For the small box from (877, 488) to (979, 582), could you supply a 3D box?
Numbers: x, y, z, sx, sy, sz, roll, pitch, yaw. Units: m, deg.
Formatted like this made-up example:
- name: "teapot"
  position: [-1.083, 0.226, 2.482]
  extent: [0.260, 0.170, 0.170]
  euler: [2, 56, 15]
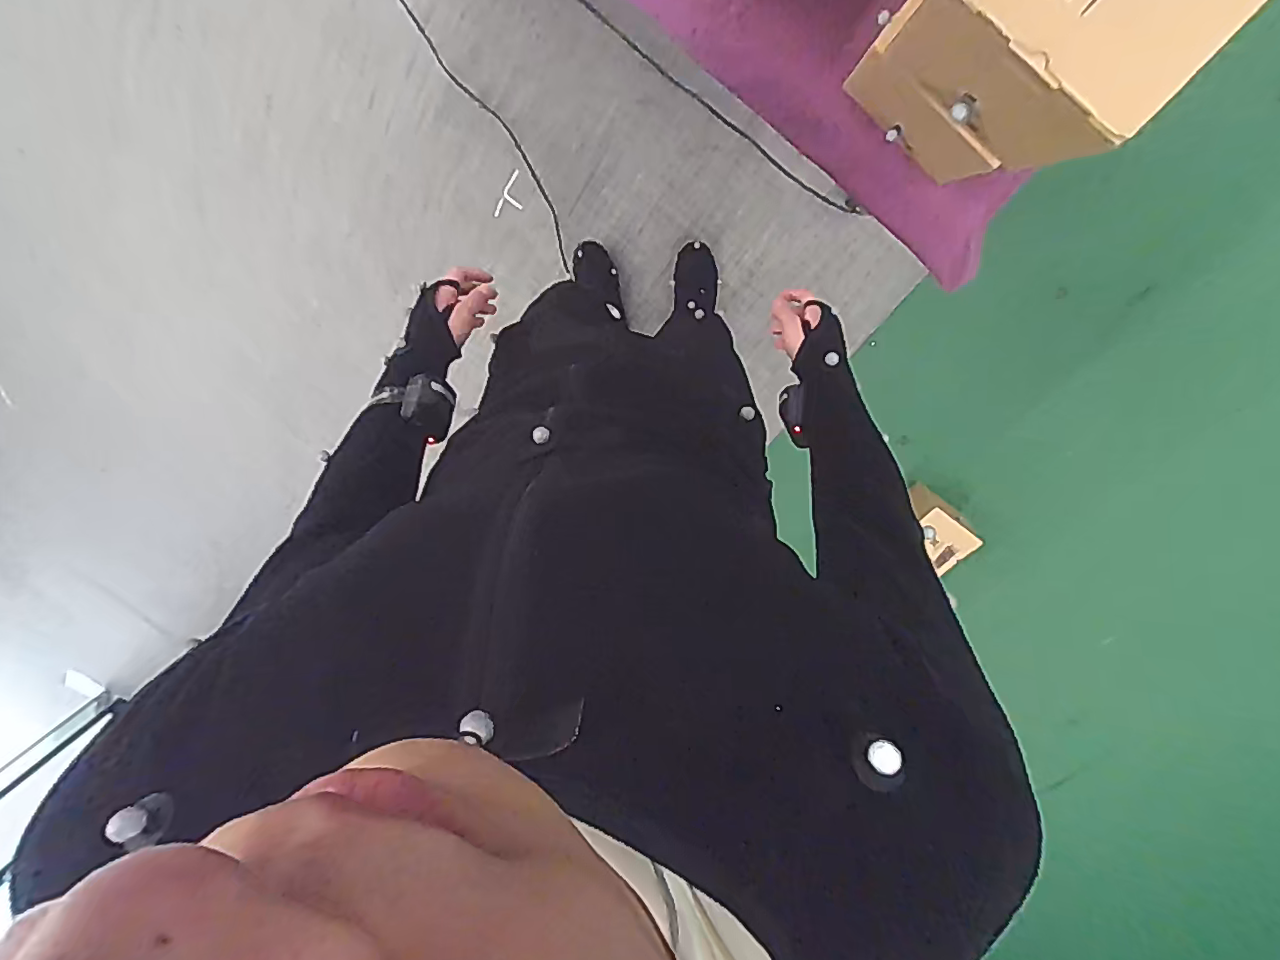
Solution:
- name: "small box"
  position: [0.818, 0.151, 1.555]
  extent: [0.179, 0.176, 0.168]
  euler: [35, 116, -6]

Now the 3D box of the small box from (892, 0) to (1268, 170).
- name: "small box"
  position: [0.320, -0.362, 0.393]
  extent: [0.168, 0.176, 0.179]
  euler: [37, 116, -7]
